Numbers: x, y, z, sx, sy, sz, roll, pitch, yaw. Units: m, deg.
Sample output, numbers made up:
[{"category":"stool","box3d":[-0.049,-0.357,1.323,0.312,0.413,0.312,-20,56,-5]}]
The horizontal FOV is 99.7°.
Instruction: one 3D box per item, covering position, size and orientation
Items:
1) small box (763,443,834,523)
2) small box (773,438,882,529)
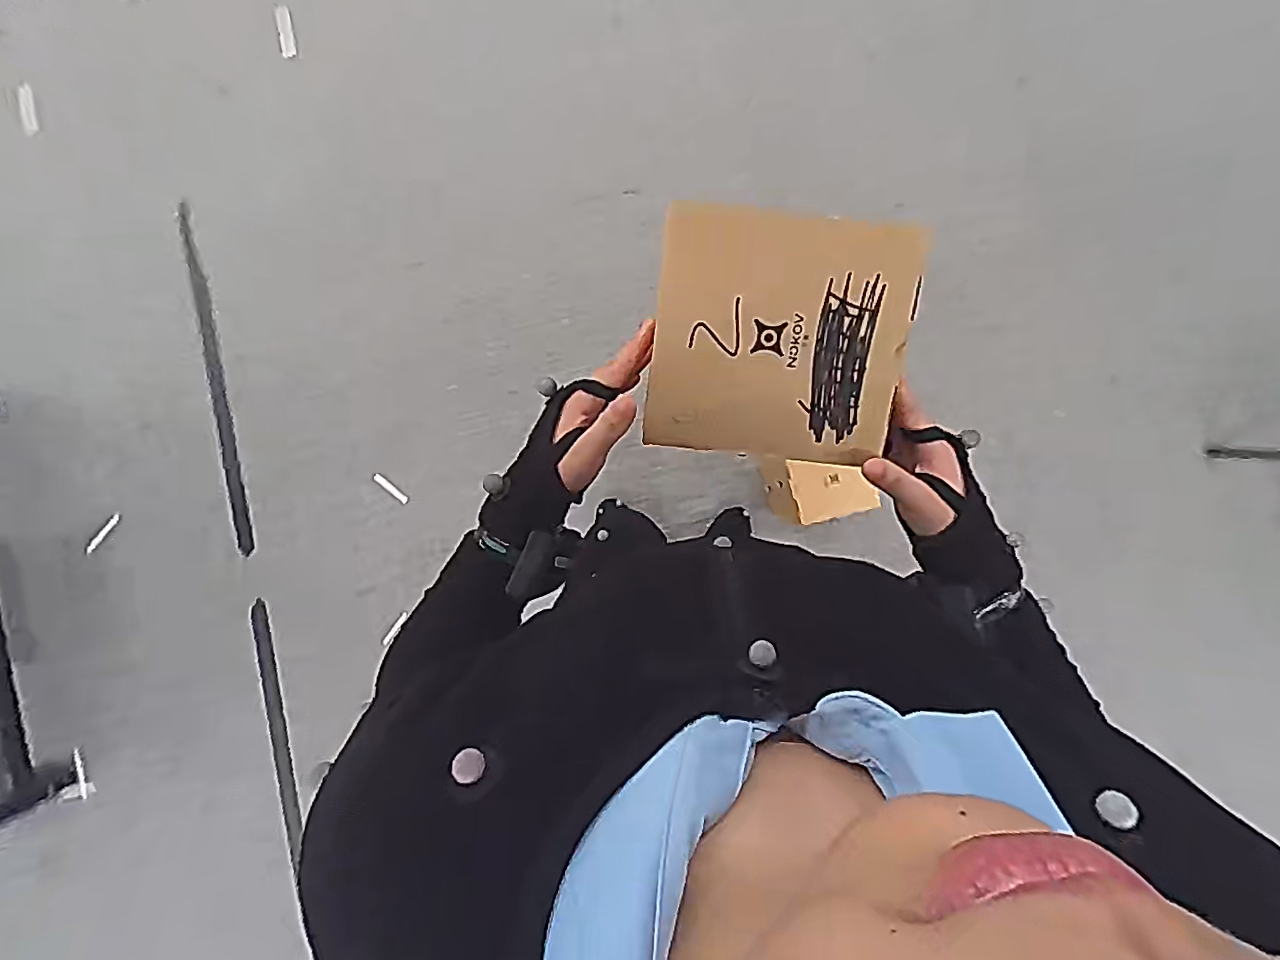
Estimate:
[{"category":"small box","box3d":[0.427,0.009,1.402,0.179,0.176,0.168,-15,89,2]},{"category":"small box","box3d":[0.421,0.007,1.239,0.179,0.176,0.168,-14,88,3]}]
